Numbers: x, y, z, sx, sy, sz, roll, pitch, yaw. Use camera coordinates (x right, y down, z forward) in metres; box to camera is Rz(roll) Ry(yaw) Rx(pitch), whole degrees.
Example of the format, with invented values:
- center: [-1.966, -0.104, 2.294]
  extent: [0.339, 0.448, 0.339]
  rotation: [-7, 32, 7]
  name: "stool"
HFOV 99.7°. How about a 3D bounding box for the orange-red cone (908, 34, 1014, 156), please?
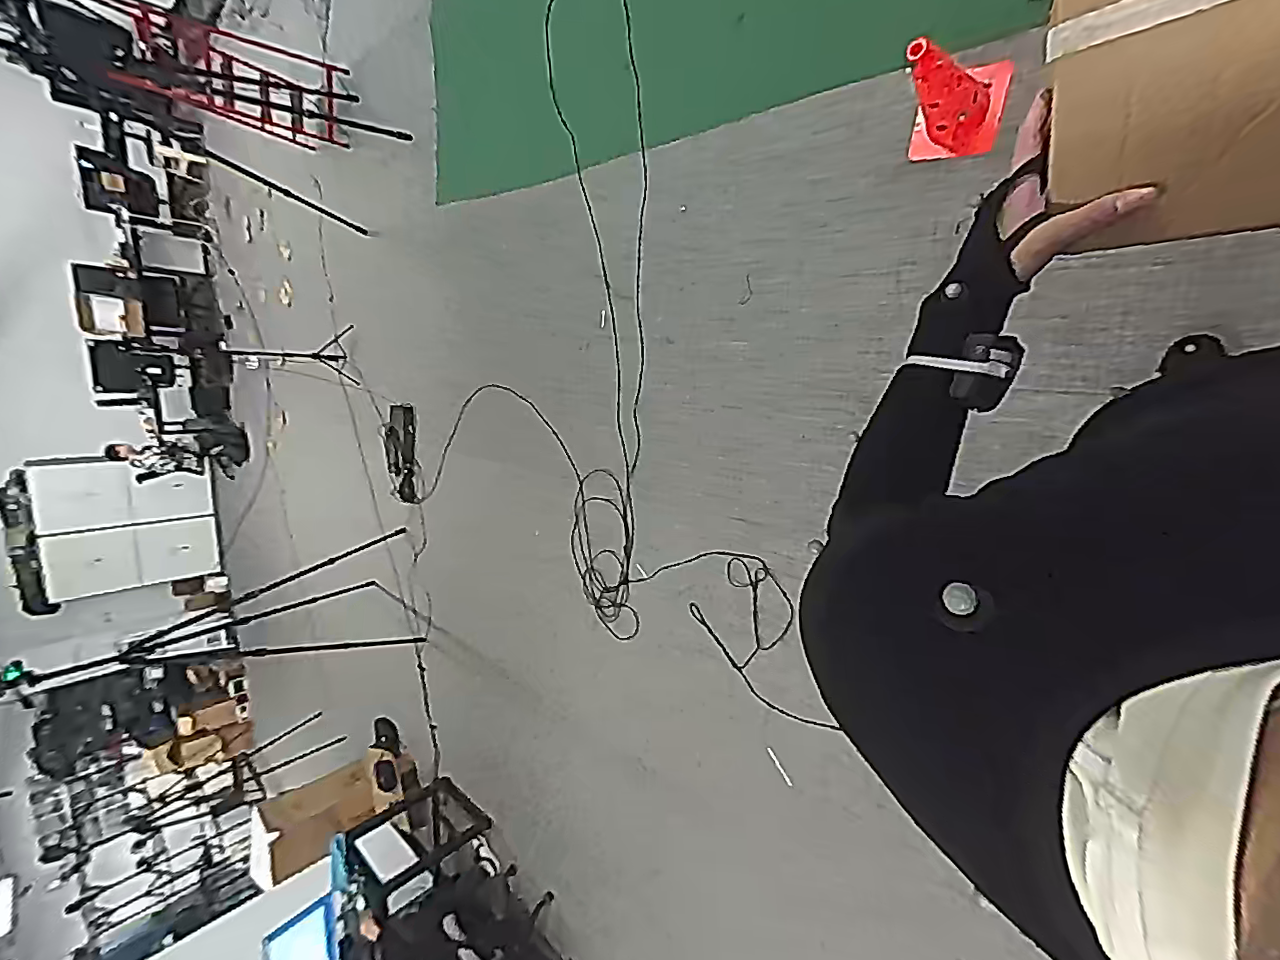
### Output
- center: [0.689, -0.915, 1.241]
  extent: [0.199, 0.360, 0.198]
  rotation: [23, 111, 40]
  name: "orange-red cone"
